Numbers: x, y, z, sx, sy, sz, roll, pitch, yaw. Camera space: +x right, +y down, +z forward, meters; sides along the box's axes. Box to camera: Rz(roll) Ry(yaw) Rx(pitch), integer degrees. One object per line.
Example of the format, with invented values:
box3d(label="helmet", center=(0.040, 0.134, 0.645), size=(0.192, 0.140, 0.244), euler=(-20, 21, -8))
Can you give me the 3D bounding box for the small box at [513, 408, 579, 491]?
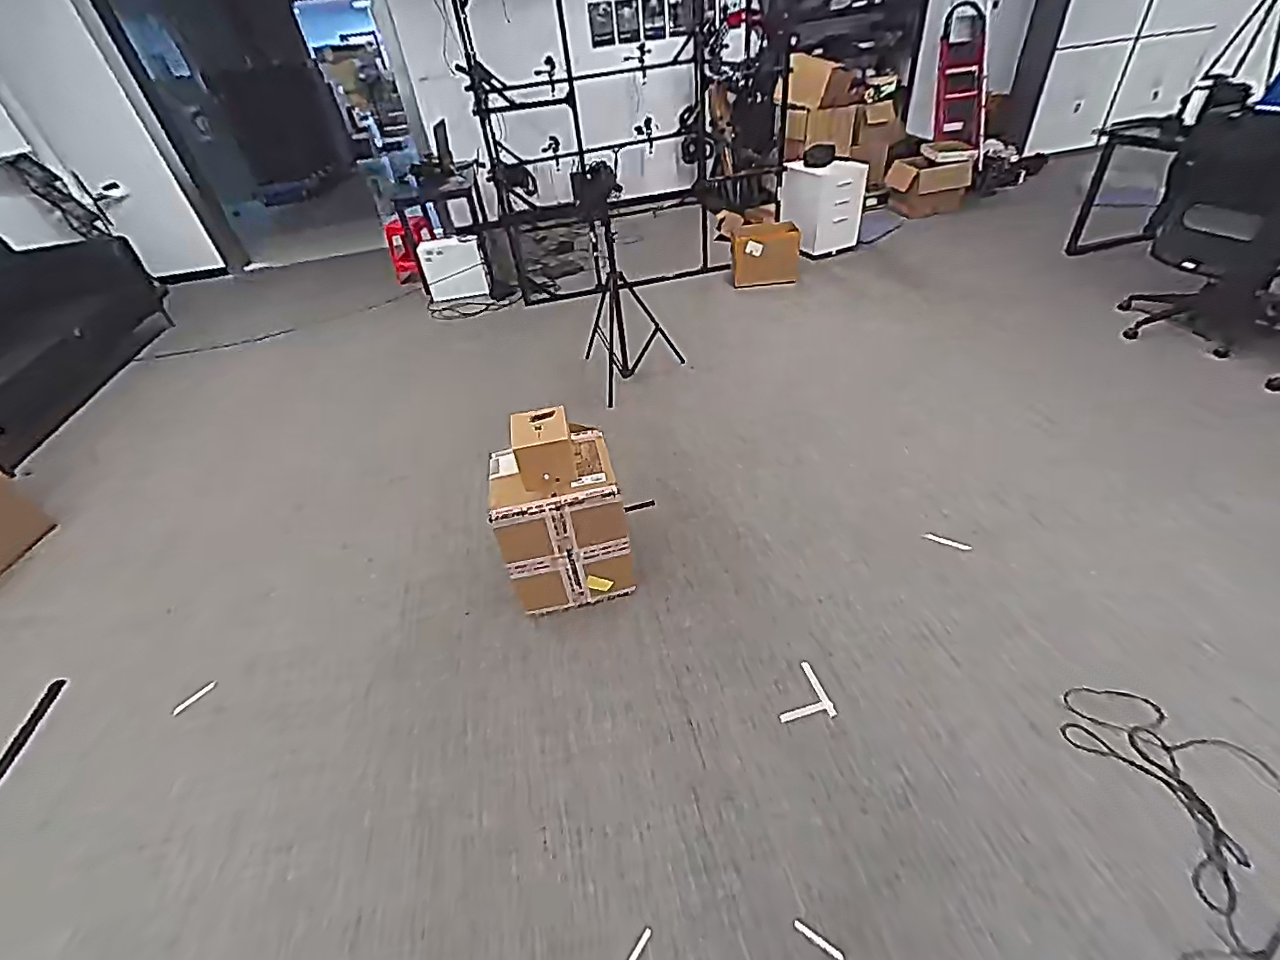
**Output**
box3d(label="small box", center=(-0.288, -0.094, 1.656), size=(0.168, 0.176, 0.179), euler=(-11, 43, -4))
